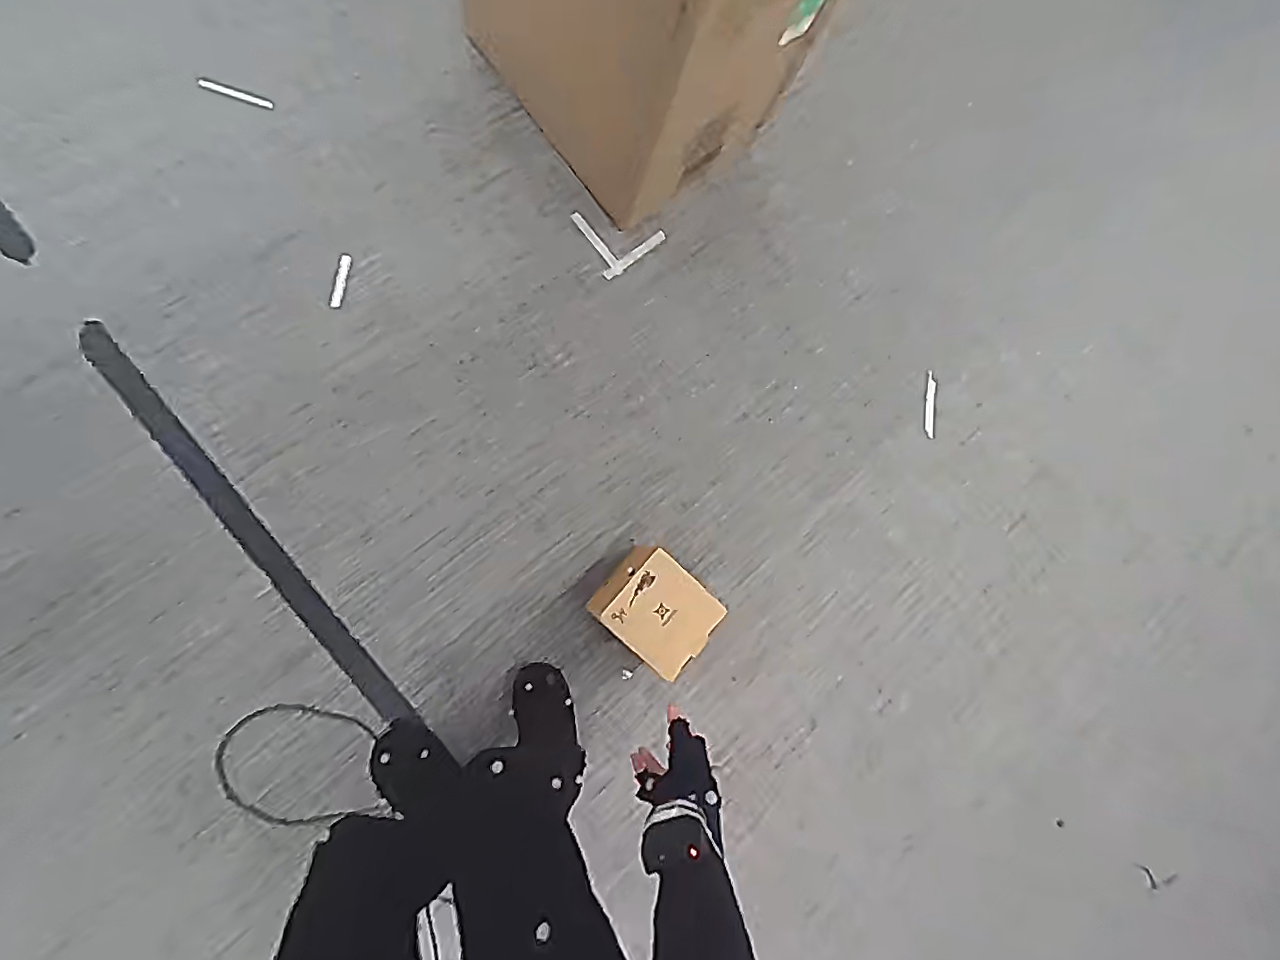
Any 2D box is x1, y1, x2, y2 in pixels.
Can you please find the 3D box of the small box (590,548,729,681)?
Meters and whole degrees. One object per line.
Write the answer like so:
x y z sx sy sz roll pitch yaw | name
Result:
0.028 0.239 1.016 0.179 0.176 0.168 43 77 -6 | small box
